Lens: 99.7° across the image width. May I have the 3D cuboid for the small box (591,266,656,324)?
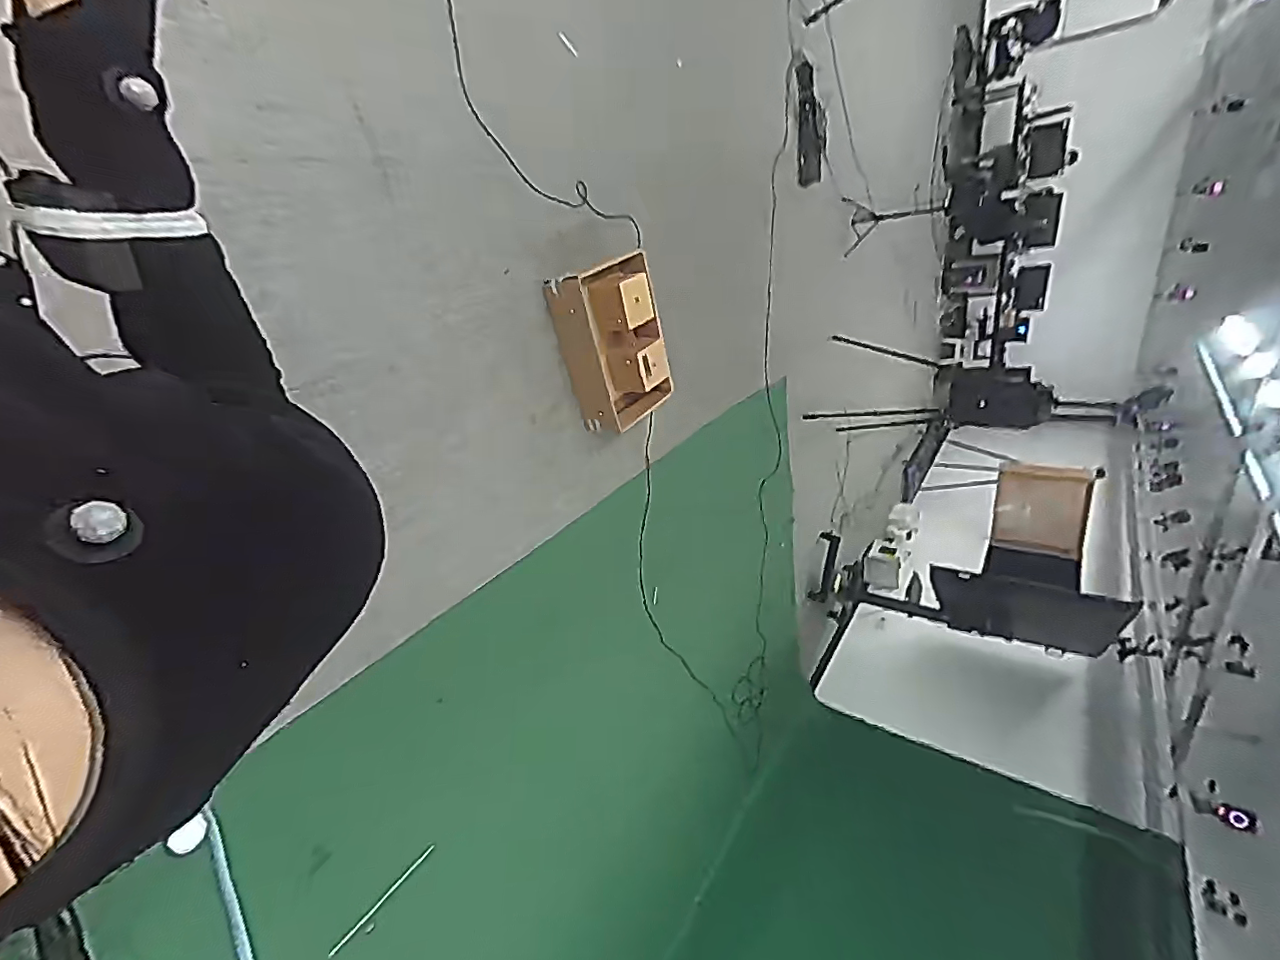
[{"bbox_3d":[-0.067,-0.715,2.101,0.168,0.176,0.179,-41,129,-38],"label":"small box"}]
